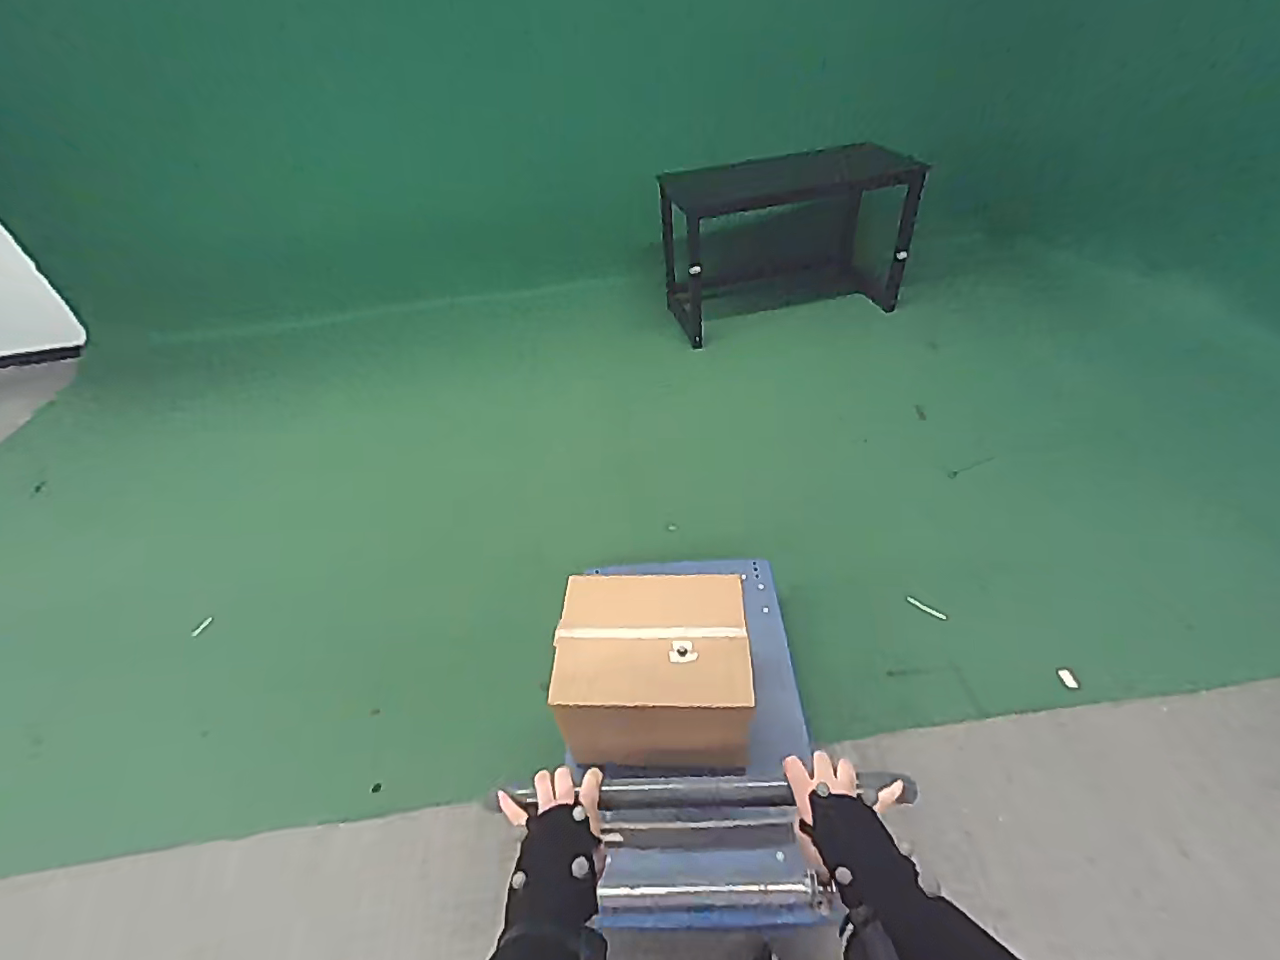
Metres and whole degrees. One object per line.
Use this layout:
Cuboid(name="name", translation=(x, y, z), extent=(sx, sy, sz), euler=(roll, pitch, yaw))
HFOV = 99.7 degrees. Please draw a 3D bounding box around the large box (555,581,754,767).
Cuboid(name="large box", translation=(0.038, 0.455, 1.271), extent=(0.408, 0.320, 0.320), euler=(-1, 42, 4))
